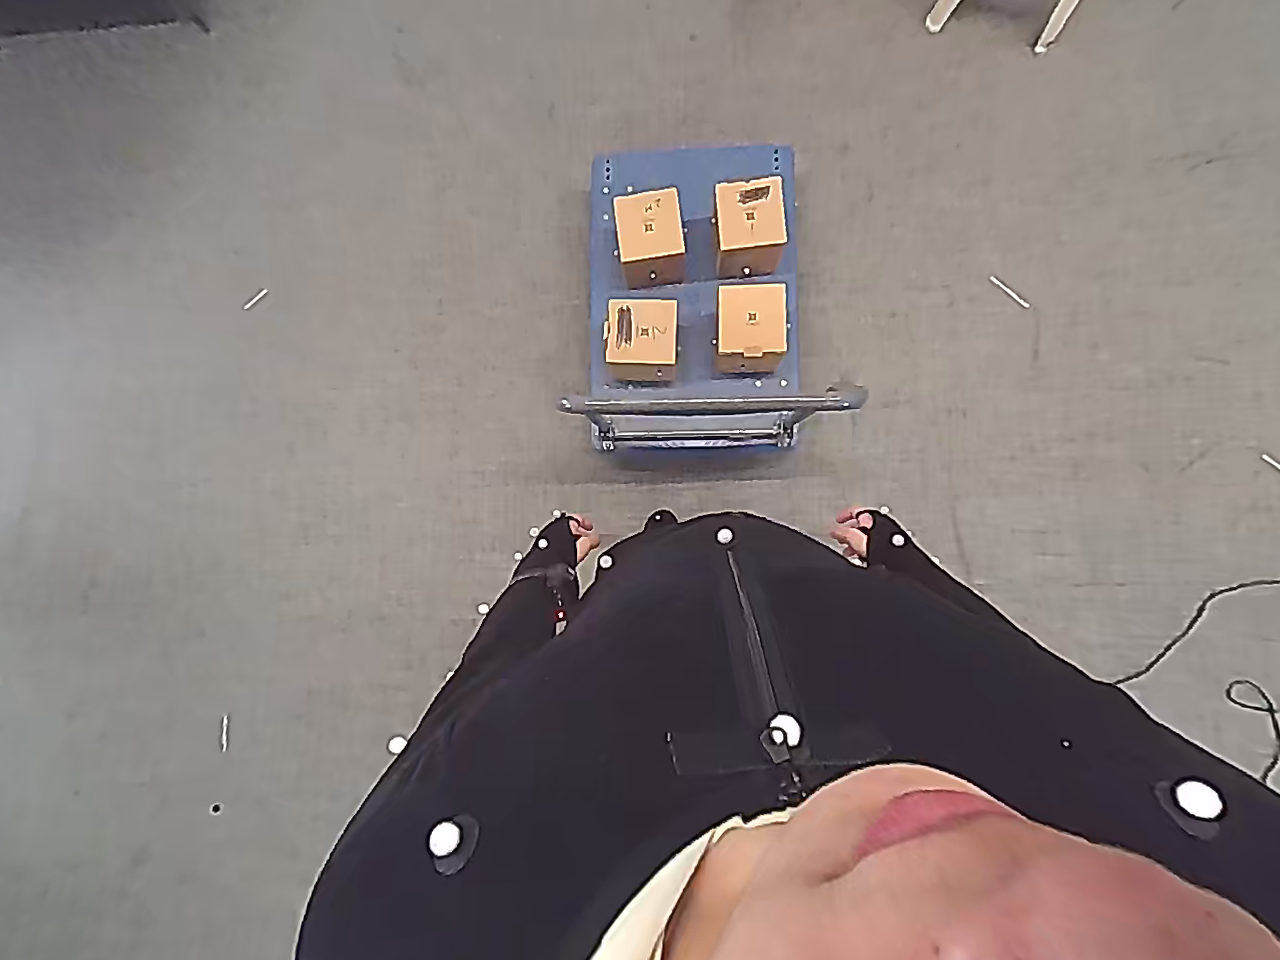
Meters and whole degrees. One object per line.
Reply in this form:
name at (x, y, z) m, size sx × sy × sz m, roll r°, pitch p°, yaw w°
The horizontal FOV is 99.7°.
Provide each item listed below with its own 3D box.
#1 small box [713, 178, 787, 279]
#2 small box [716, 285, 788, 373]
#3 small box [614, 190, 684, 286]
small box at (0.283, -0.656, 1.425) m, size 0.168 × 0.176 × 0.179 m, roll -5°, pitch 86°, yaw 5°
small box at (0.285, -0.387, 1.407) m, size 0.168 × 0.176 × 0.179 m, roll -1°, pitch 86°, yaw 5°
small box at (0.029, -0.634, 1.444) m, size 0.168 × 0.176 × 0.179 m, roll -7°, pitch 86°, yaw 3°
